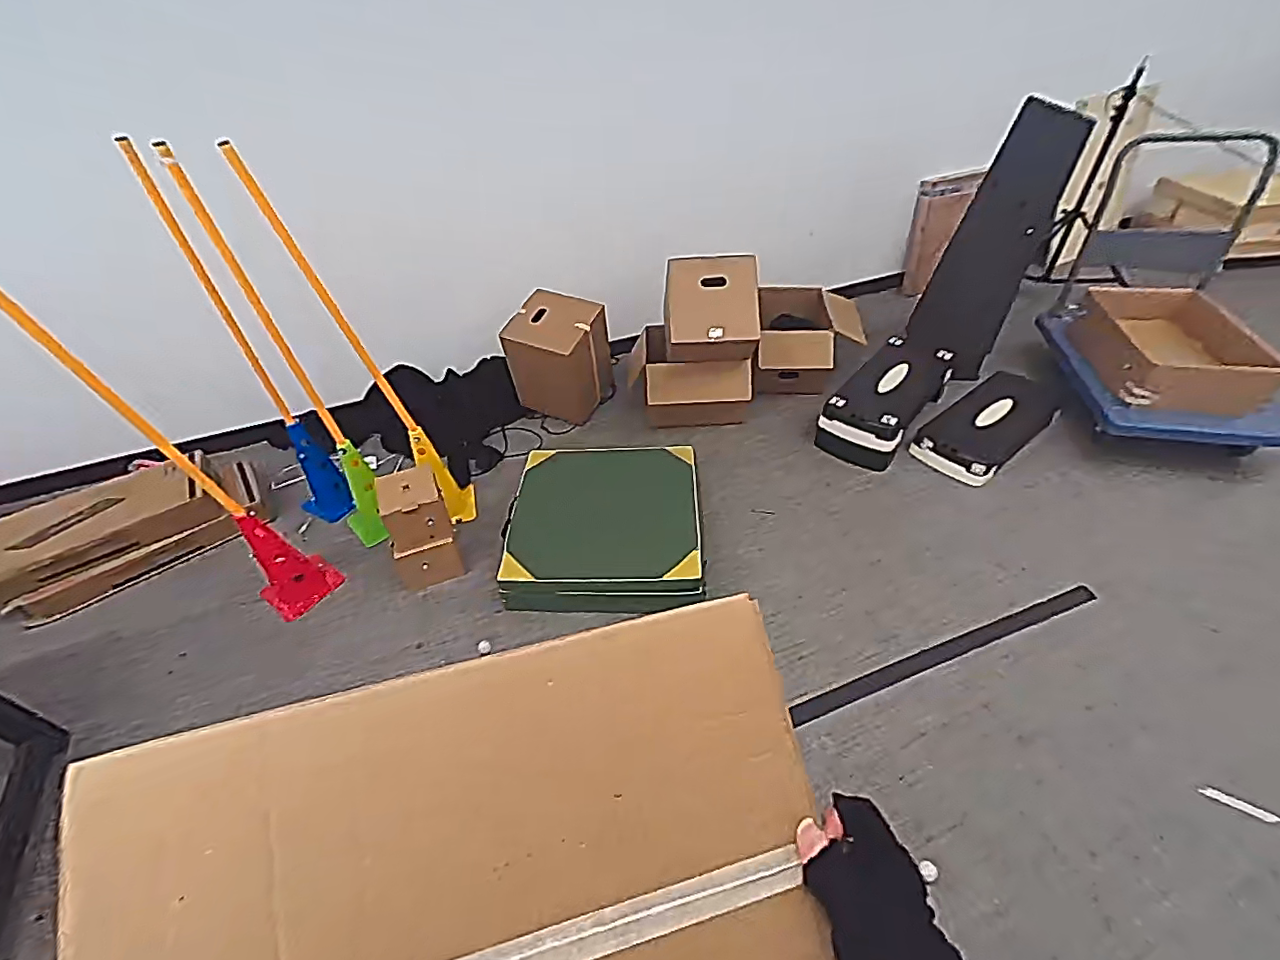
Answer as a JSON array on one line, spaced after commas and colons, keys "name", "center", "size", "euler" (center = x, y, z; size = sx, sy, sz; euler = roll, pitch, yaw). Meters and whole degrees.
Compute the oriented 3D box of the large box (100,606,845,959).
[{"name": "large box", "center": [-0.096, 0.311, 0.451], "size": [0.408, 0.320, 0.320], "euler": [-12, 75, -9]}]
